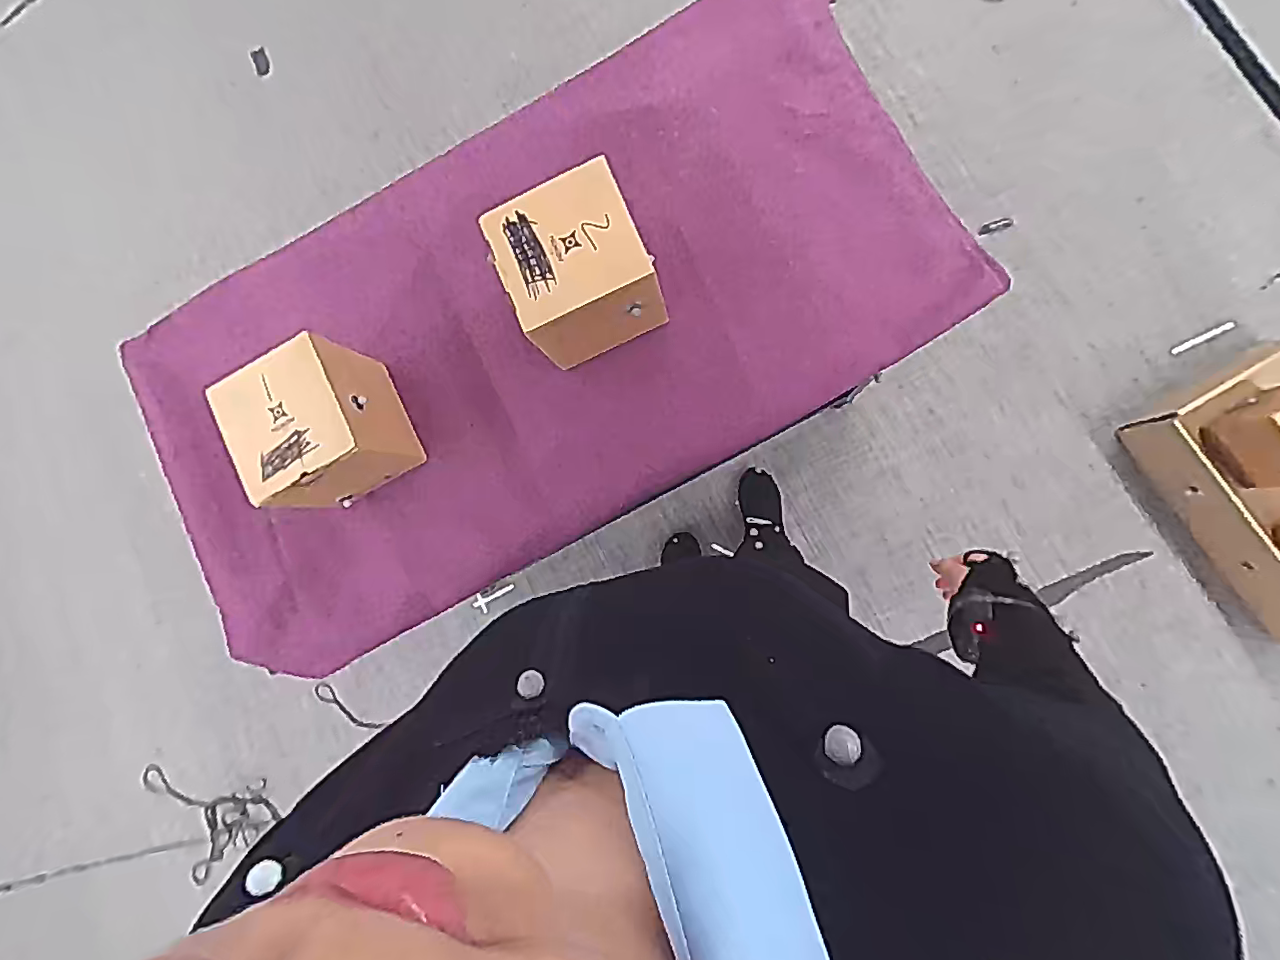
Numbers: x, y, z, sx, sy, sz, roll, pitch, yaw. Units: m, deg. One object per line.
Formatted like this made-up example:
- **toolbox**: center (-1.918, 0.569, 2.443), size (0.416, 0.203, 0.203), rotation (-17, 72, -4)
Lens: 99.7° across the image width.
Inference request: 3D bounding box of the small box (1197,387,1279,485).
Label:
- **small box**: center (1.416, -0.100, 1.187), size (0.168, 0.176, 0.179), rotation (-34, 83, 4)

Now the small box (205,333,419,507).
- **small box**: center (-0.451, -0.075, 0.771), size (0.168, 0.176, 0.179), rotation (-28, 83, 5)

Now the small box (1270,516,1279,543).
- **small box**: center (1.551, 0.120, 1.156), size (0.179, 0.176, 0.168), rotation (-32, 82, 5)
